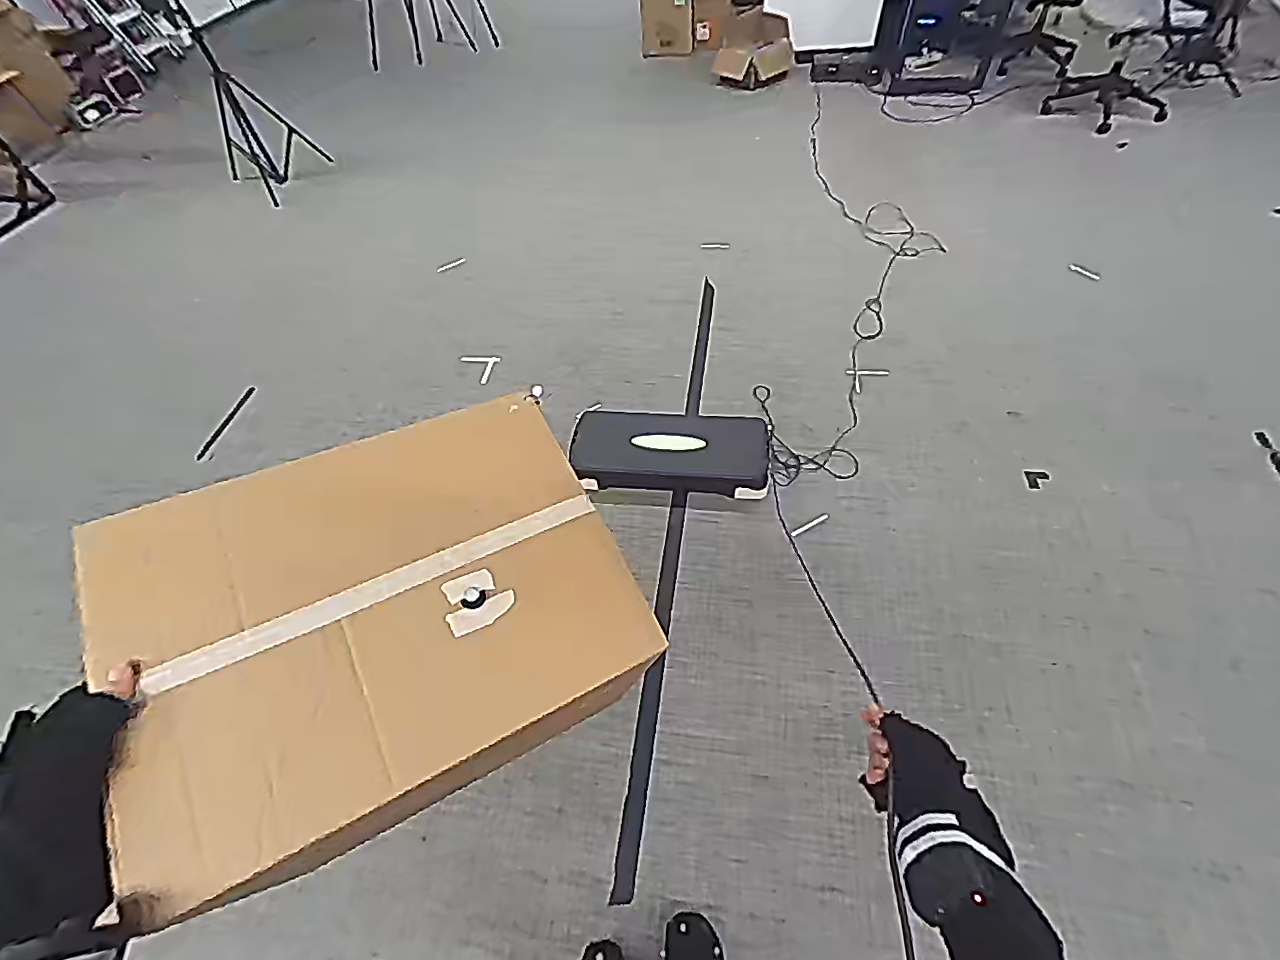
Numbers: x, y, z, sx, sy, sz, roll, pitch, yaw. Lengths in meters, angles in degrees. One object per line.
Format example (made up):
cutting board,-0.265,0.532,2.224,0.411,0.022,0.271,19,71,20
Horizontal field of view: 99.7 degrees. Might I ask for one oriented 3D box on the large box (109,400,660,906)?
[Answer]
large box,-0.245,0.172,0.610,0.408,0.320,0.320,-21,67,-22
